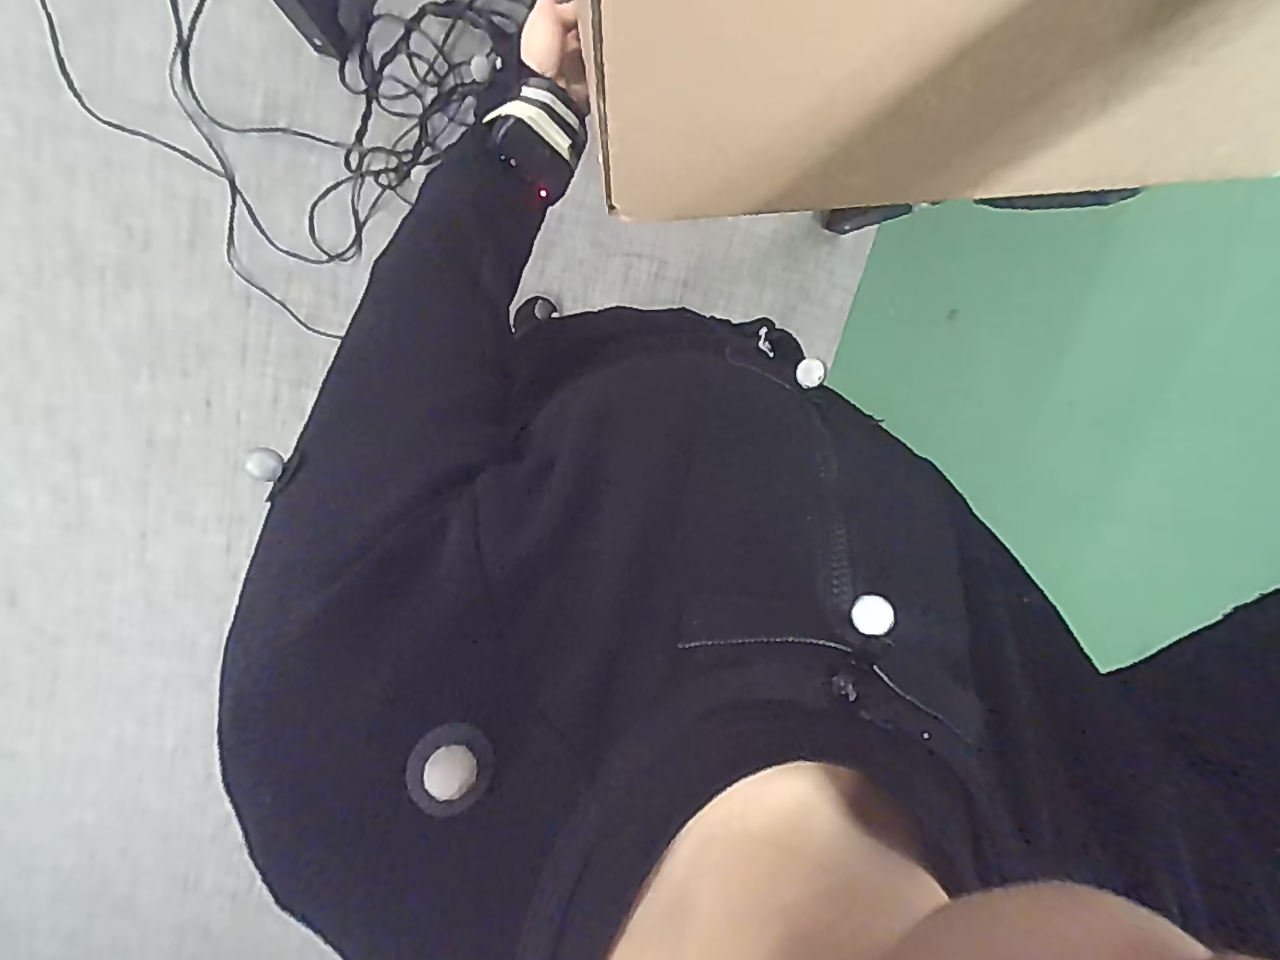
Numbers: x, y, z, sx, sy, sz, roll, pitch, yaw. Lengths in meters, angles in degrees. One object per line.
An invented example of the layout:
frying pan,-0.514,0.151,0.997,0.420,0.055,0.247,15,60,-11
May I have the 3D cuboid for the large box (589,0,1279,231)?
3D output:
large box,0.169,-0.368,0.254,0.408,0.320,0.320,-8,64,-3
